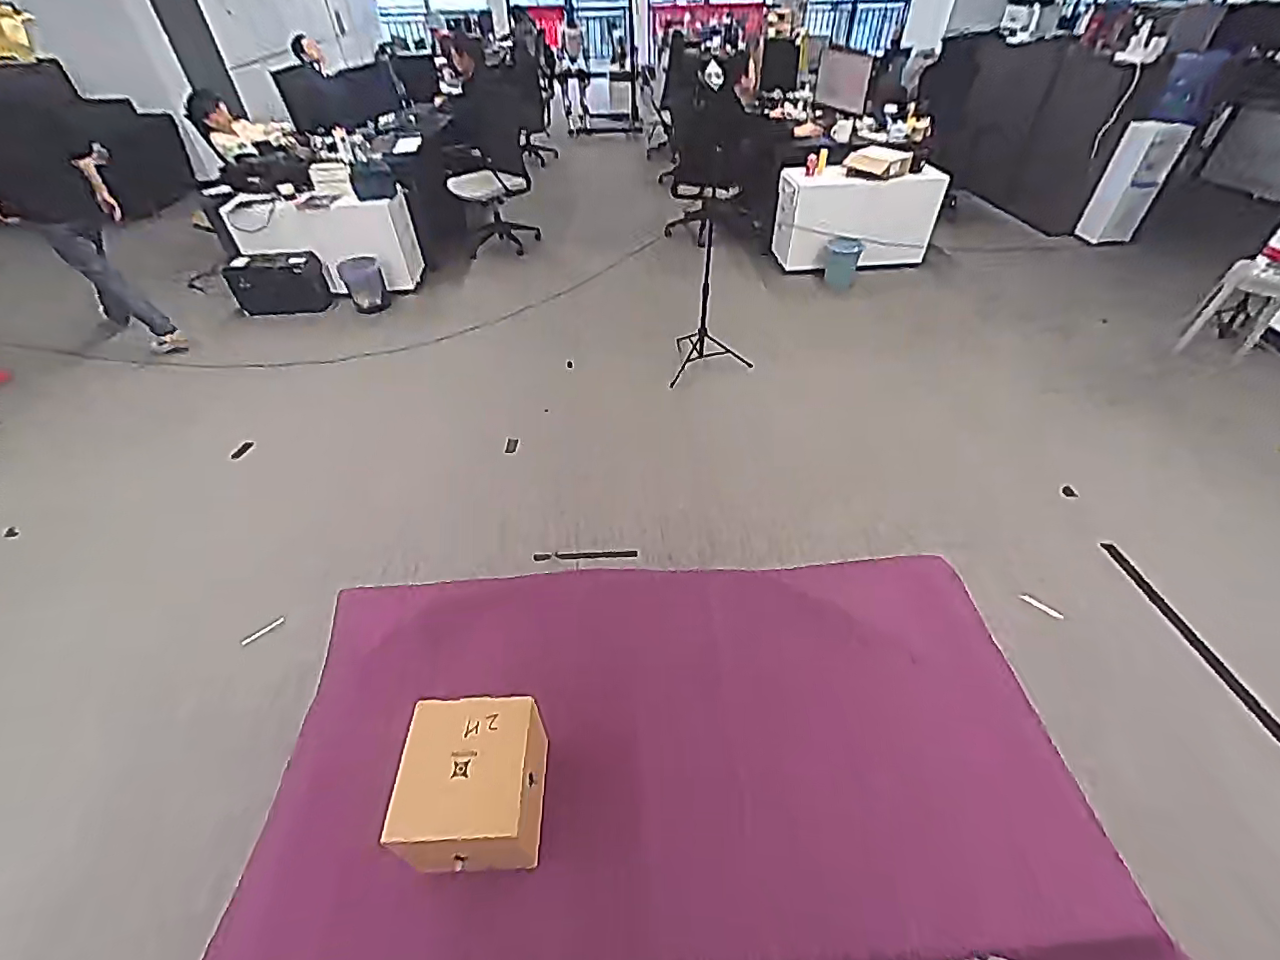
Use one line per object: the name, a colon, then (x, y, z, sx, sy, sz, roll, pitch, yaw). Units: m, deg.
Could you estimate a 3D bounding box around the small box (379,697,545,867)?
small box: (-0.232, 0.427, 0.760, 0.168, 0.176, 0.179, -1, 44, -1)
